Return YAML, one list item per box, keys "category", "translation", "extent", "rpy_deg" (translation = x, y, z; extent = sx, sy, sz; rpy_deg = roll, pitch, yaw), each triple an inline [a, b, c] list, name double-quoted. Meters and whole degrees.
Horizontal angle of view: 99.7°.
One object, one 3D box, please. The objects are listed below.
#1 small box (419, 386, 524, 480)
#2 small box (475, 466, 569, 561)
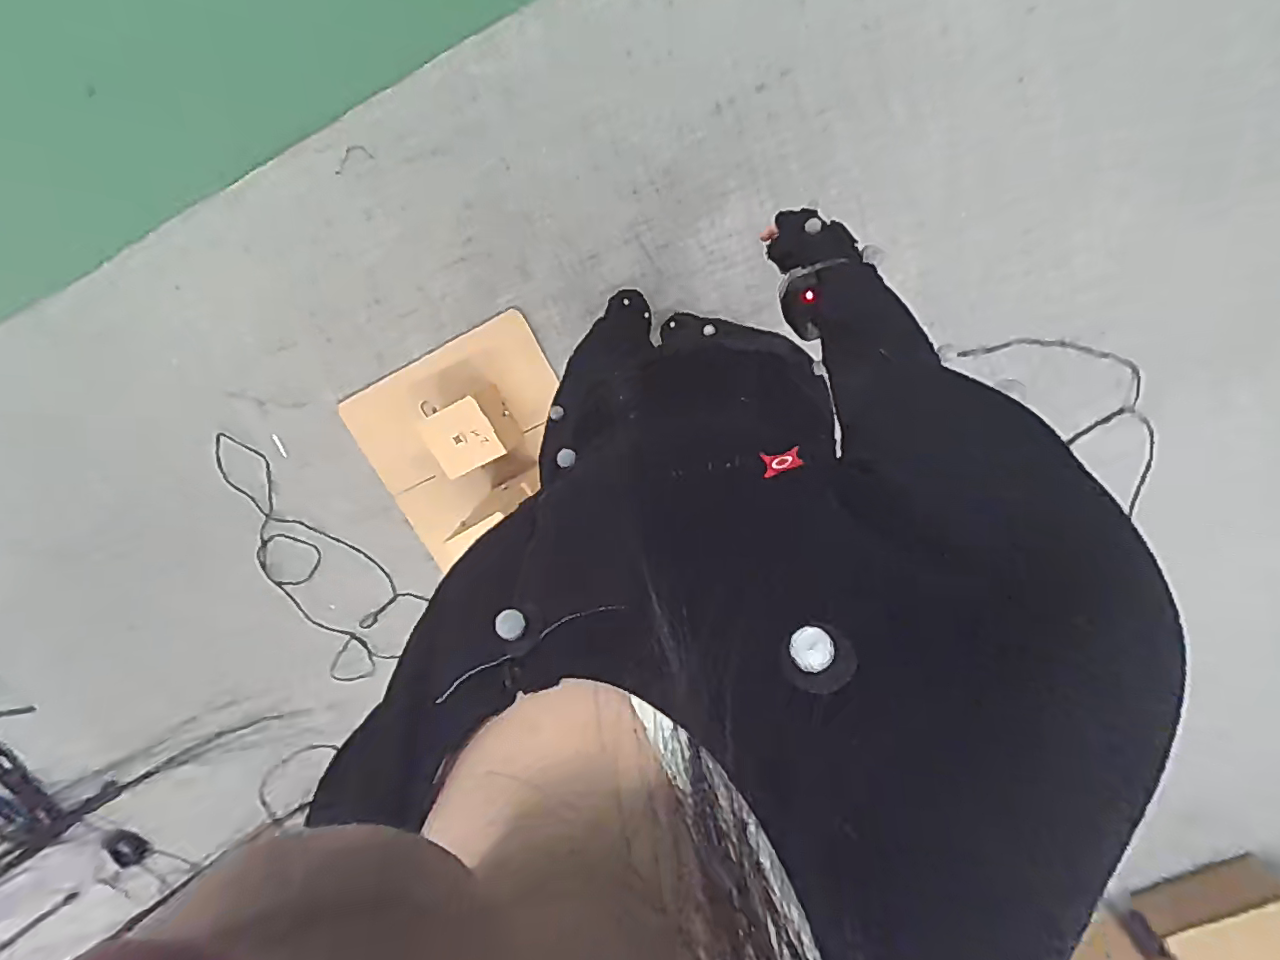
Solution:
- category: "small box"
  translation: [-0.429, -0.127, 1.407]
  extent: [0.179, 0.176, 0.168]
  rpy_deg: [-25, 107, 12]
- category: "small box"
  translation: [-0.308, 0.084, 1.469]
  extent: [0.179, 0.176, 0.168]
  rpy_deg: [-28, 105, 14]
